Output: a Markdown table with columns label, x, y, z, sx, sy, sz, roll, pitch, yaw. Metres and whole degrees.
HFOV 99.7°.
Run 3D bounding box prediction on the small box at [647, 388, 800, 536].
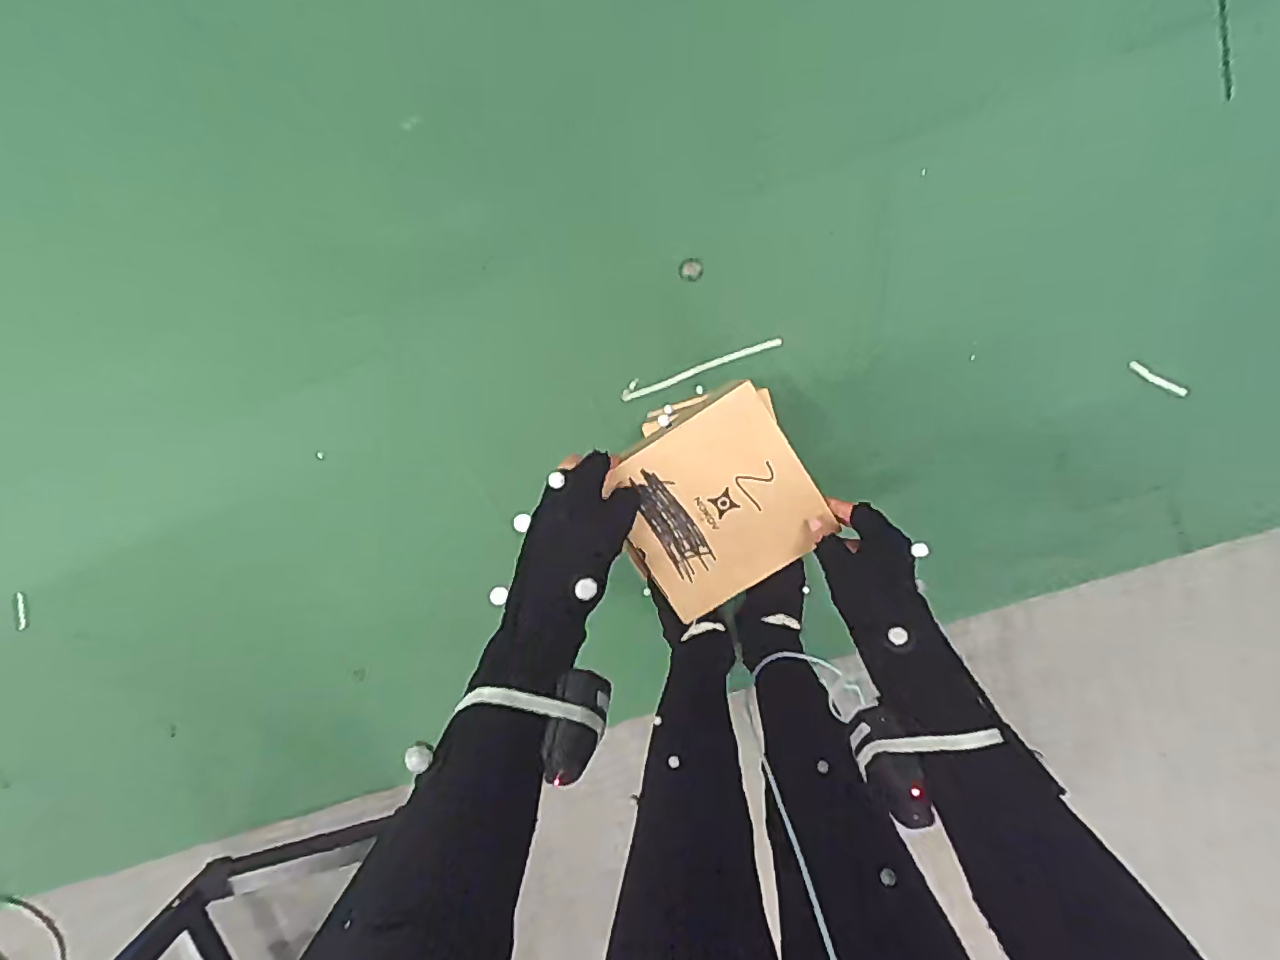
| label | x | y | z | sx | sy | sz | roll | pitch | yaw |
| --- | --- | --- | --- | --- | --- | --- | --- | --- | --- |
| small box | 0.117 | -0.036 | 0.809 | 0.179 | 0.176 | 0.168 | -17 | 99 | 7 |

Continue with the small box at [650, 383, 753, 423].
| label | x | y | z | sx | sy | sz | roll | pitch | yaw |
| --- | --- | --- | --- | --- | --- | --- | --- | --- | --- |
| small box | 0.125 | -0.072 | 0.968 | 0.179 | 0.176 | 0.168 | -17 | 99 | 7 |
